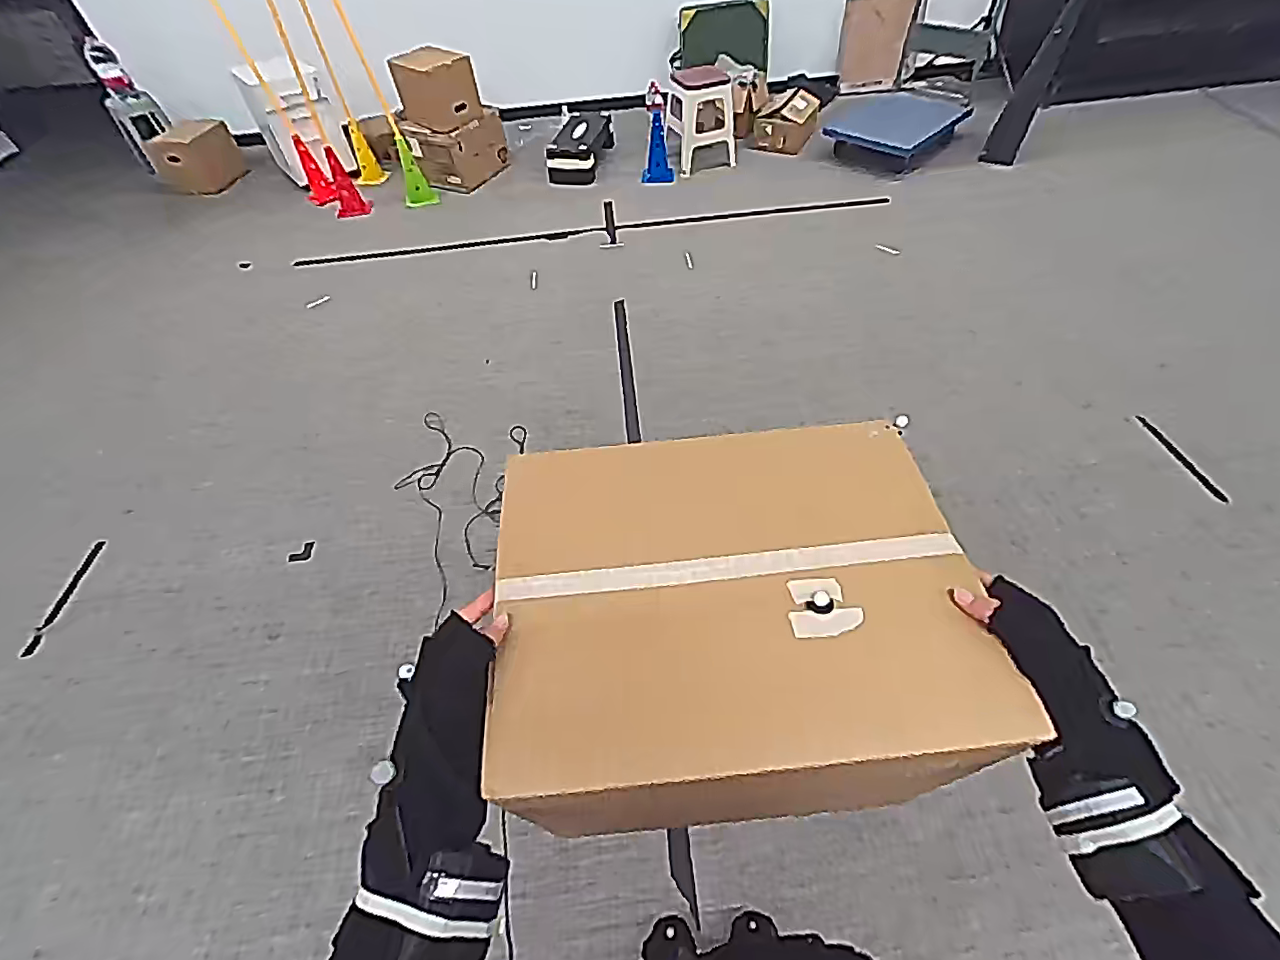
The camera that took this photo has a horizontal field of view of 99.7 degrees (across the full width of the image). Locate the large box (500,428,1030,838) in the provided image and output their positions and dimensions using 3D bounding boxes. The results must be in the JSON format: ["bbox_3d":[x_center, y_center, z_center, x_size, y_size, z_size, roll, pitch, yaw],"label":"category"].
[{"bbox_3d":[0.084,0.176,0.600,0.408,0.320,0.320,-6,52,-1],"label":"large box"}]
